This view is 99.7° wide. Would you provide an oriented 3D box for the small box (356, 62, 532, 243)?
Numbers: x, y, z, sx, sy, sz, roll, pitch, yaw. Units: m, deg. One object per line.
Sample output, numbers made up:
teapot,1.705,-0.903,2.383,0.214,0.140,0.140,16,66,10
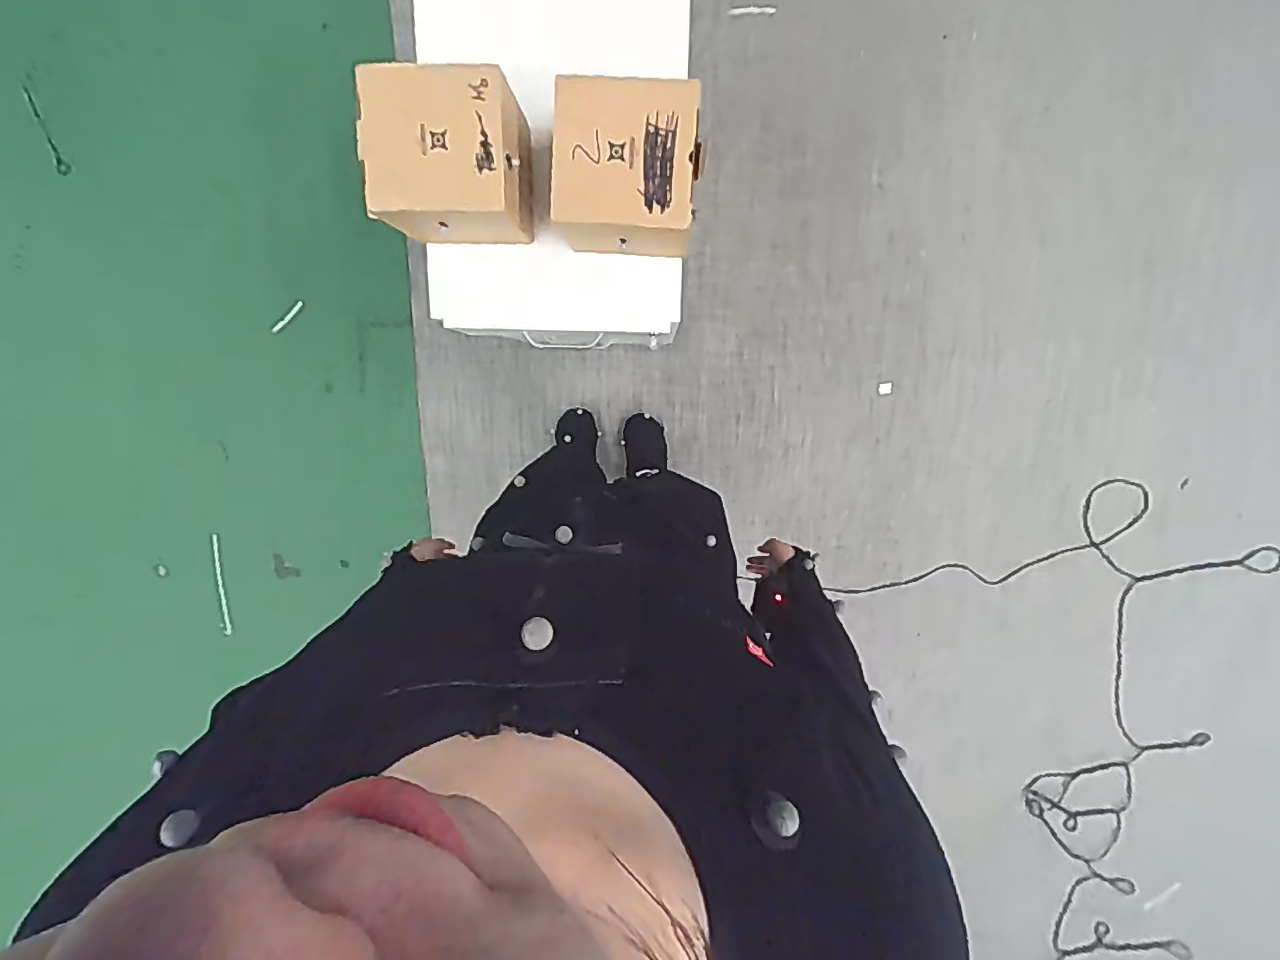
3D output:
small box,-0.252,-0.429,0.735,0.179,0.176,0.168,1,100,1
